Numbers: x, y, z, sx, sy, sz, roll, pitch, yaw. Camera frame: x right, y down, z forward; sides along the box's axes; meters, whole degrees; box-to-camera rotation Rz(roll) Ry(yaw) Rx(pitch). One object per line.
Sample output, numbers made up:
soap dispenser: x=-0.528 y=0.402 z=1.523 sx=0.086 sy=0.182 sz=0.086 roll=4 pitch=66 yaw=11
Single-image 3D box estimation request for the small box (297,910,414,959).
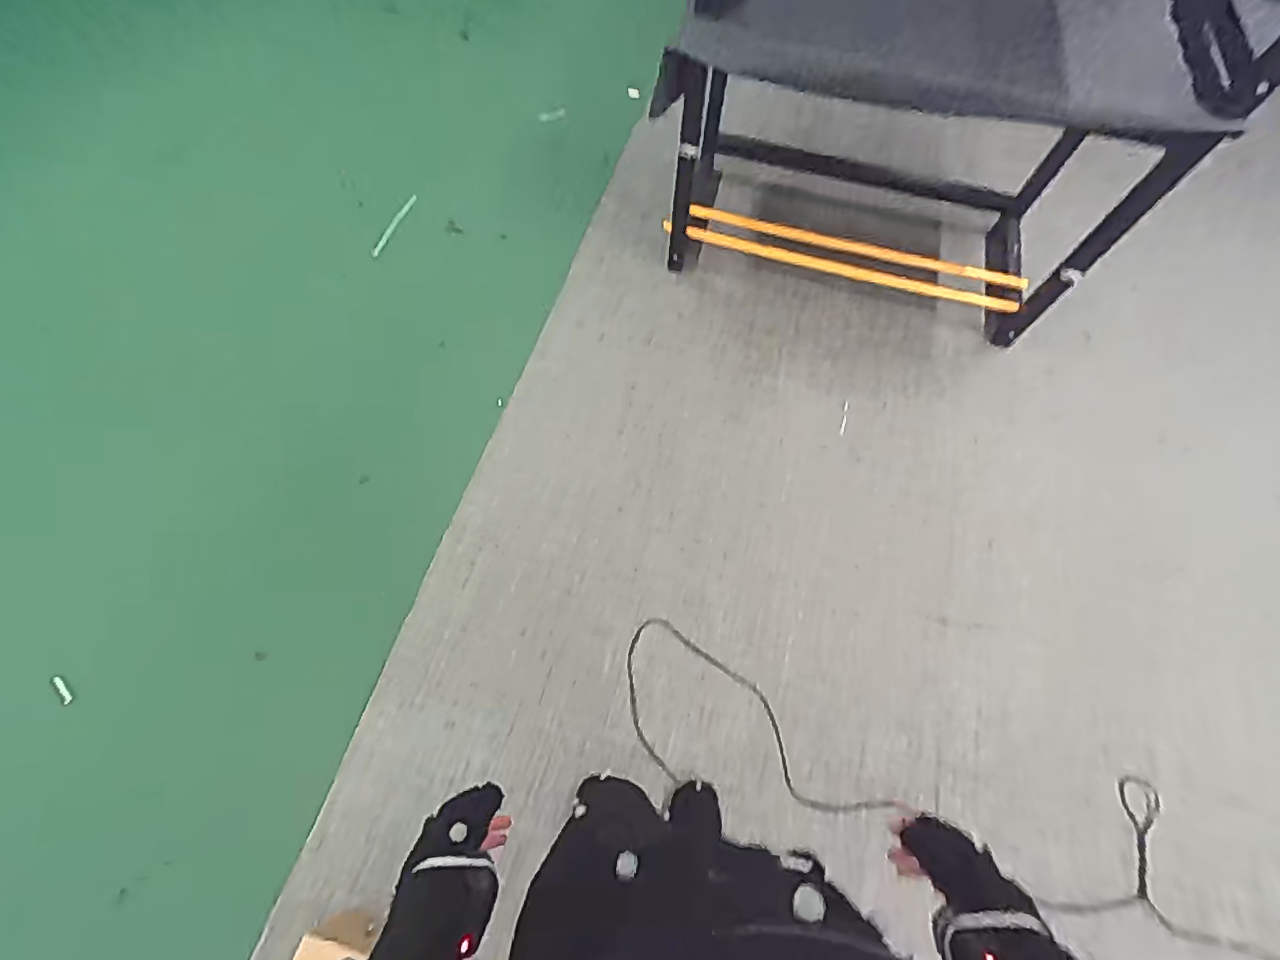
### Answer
small box: x=-0.546 y=0.943 z=1.003 sx=0.168 sy=0.176 sz=0.179 roll=16 pitch=65 yaw=6
